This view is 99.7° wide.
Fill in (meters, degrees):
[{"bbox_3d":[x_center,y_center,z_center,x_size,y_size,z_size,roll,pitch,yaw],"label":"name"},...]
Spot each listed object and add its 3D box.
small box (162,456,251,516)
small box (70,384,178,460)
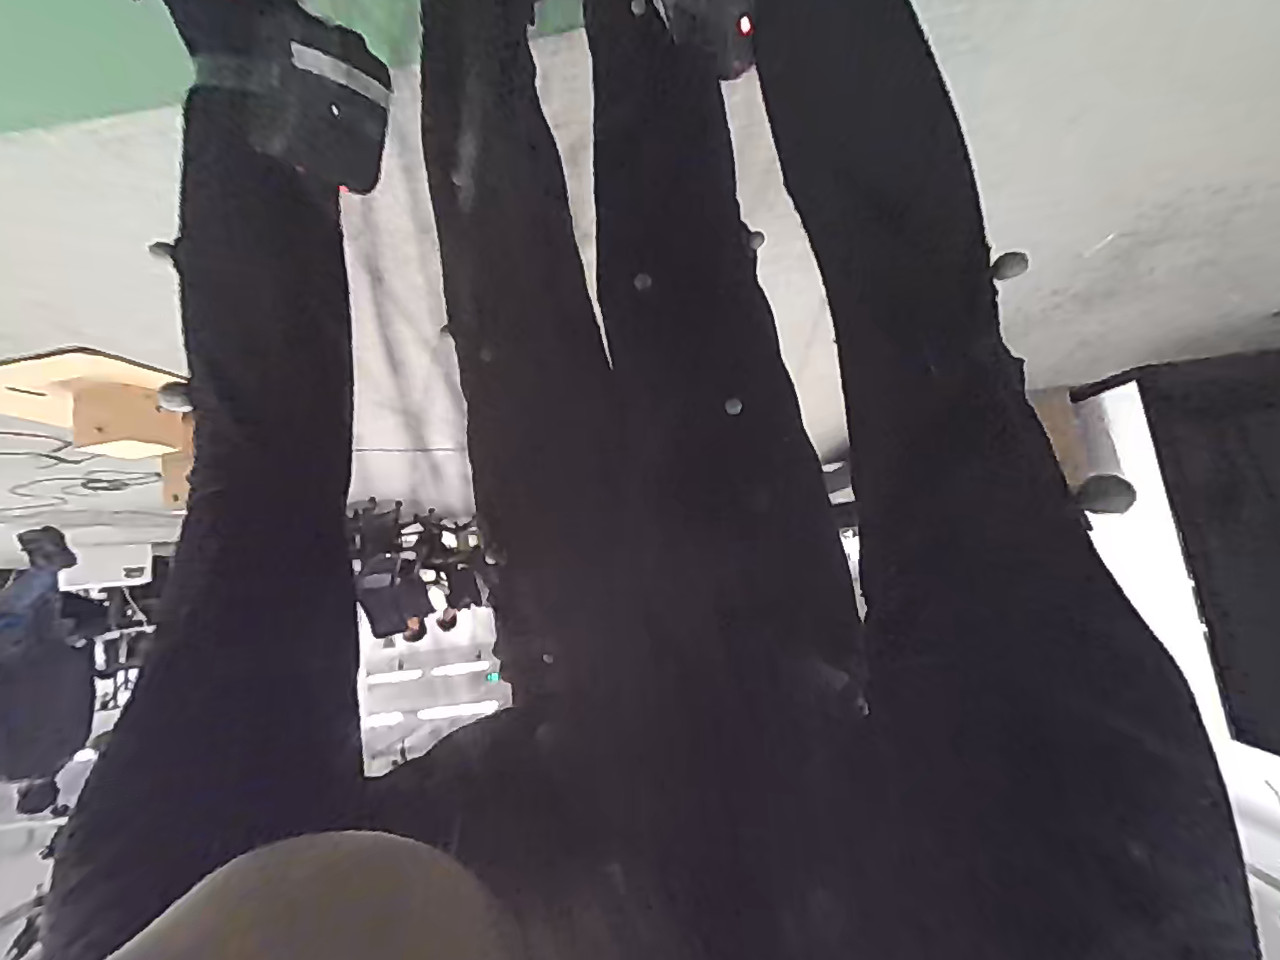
[{"bbox_3d":[-1.448,0.022,1.809,0.179,0.176,0.168,-9,174,3],"label":"small box"},{"bbox_3d":[-1.507,-0.168,1.587,0.179,0.176,0.168,-10,172,7],"label":"small box"}]
